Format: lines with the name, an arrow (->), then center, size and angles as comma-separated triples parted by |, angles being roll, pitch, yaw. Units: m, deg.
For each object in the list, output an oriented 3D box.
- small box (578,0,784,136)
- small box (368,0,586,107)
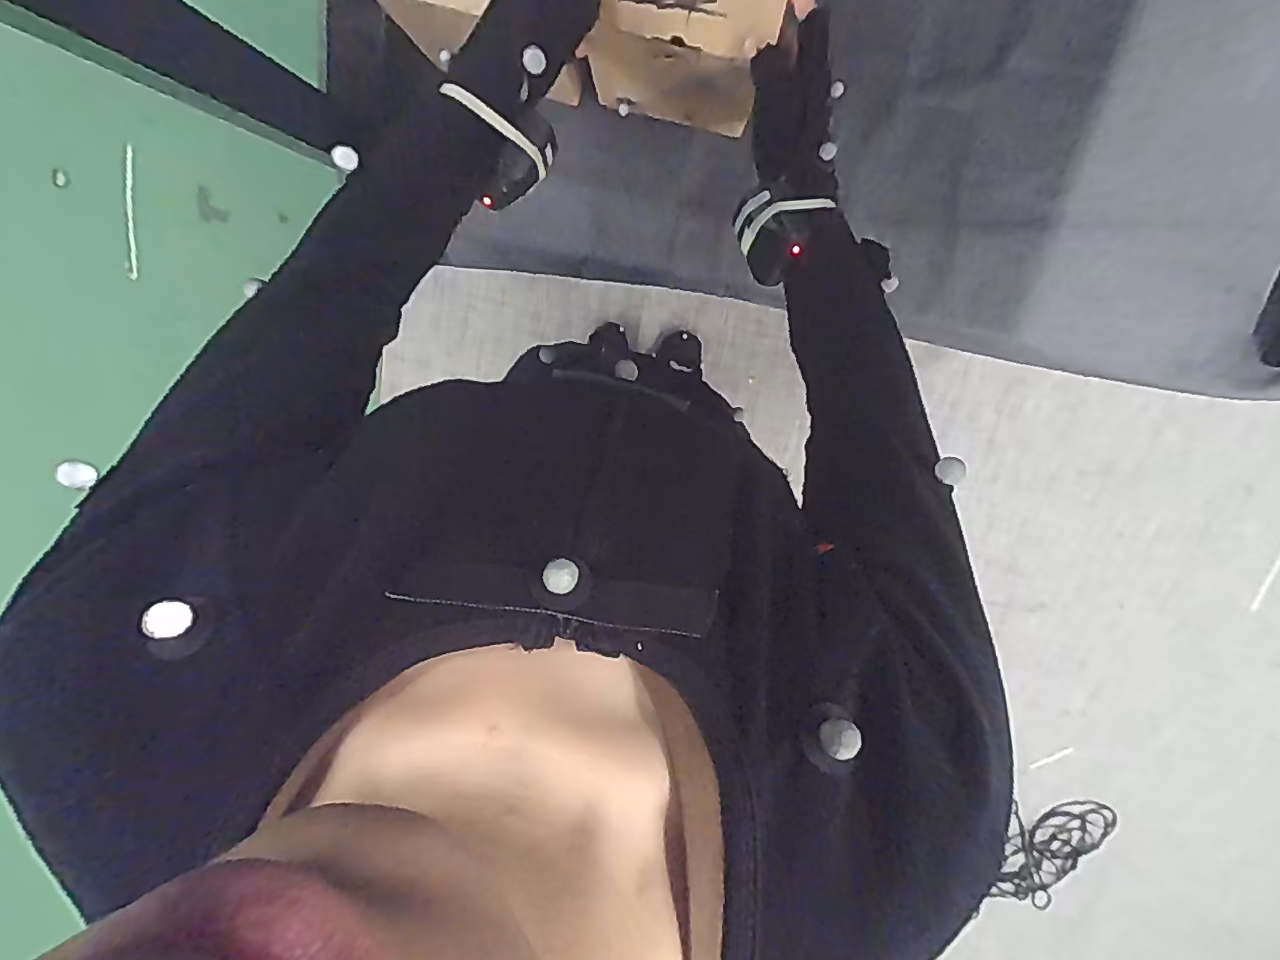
small box -> 0.049, -0.455, 0.504 | 0.168, 0.176, 0.179 | 12, 104, -2
small box -> -0.133, -0.493, 0.511 | 0.168, 0.176, 0.179 | 13, 106, -3
